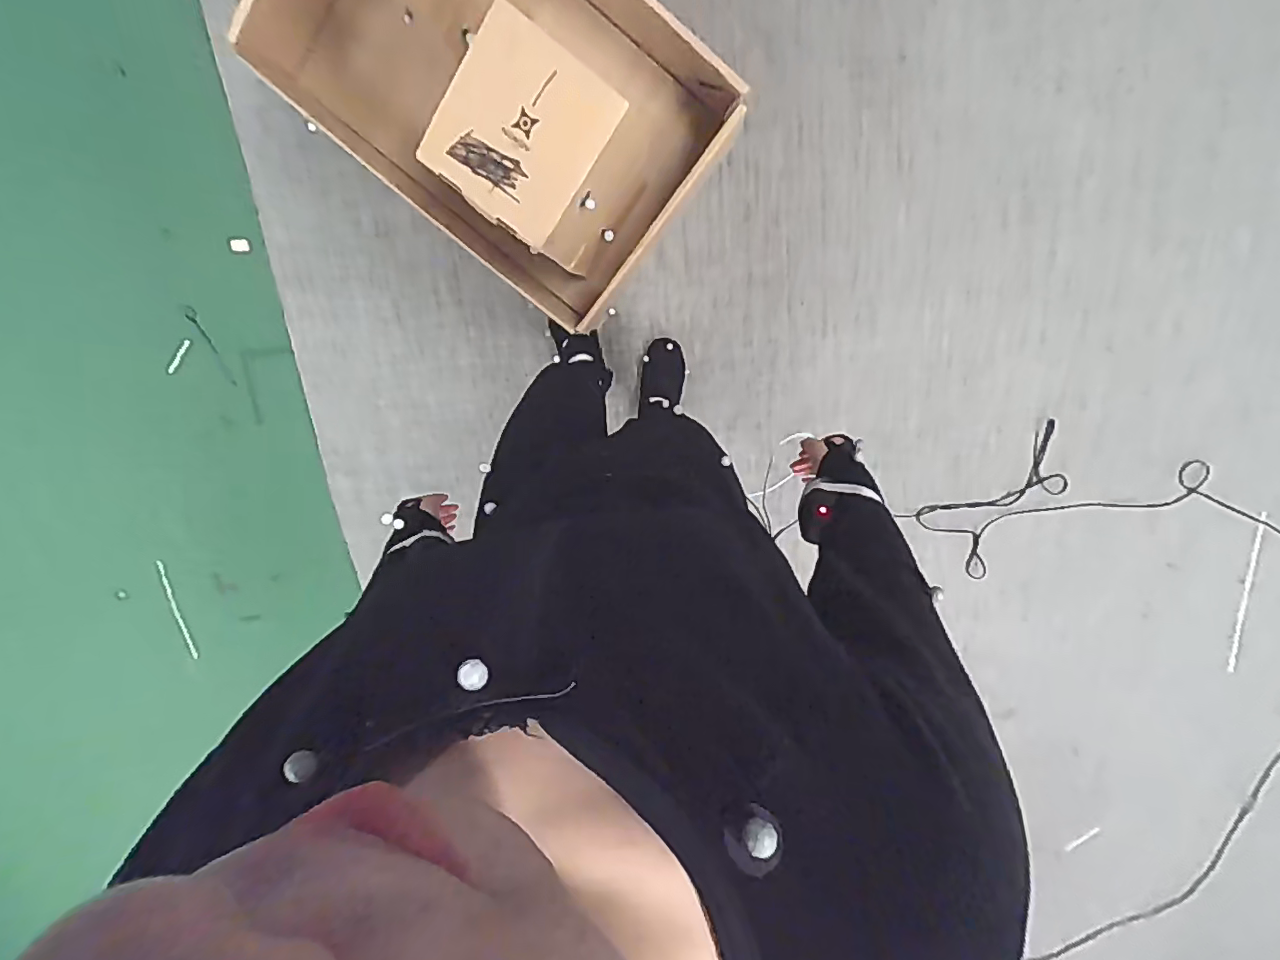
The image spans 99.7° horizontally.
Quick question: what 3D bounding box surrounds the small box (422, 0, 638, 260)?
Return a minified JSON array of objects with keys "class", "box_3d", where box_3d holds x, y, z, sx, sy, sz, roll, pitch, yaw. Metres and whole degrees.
[{"class":"small box","box_3d":[-0.114,-0.388,0.642,0.168,0.176,0.179,37,105,-7]}]
